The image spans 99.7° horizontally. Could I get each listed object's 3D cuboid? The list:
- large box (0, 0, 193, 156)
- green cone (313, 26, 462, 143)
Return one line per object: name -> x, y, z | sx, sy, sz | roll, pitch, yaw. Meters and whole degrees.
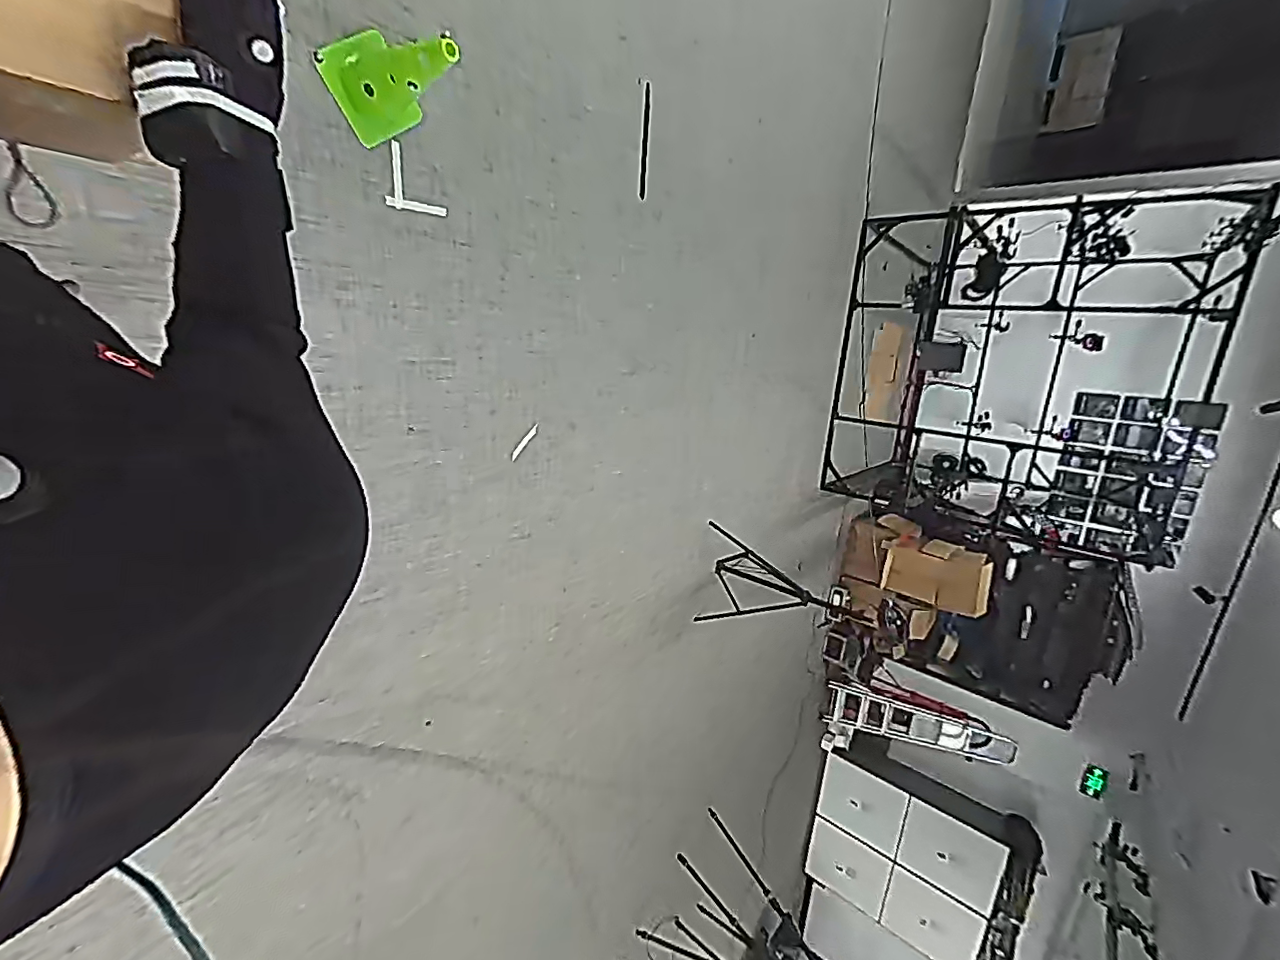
large box -> -0.562, -0.424, 0.303 | 0.408, 0.320, 0.320 | -13, 115, -50
green cone -> -0.524, -0.924, 1.215 | 0.202, 0.368, 0.200 | -53, 139, -28
